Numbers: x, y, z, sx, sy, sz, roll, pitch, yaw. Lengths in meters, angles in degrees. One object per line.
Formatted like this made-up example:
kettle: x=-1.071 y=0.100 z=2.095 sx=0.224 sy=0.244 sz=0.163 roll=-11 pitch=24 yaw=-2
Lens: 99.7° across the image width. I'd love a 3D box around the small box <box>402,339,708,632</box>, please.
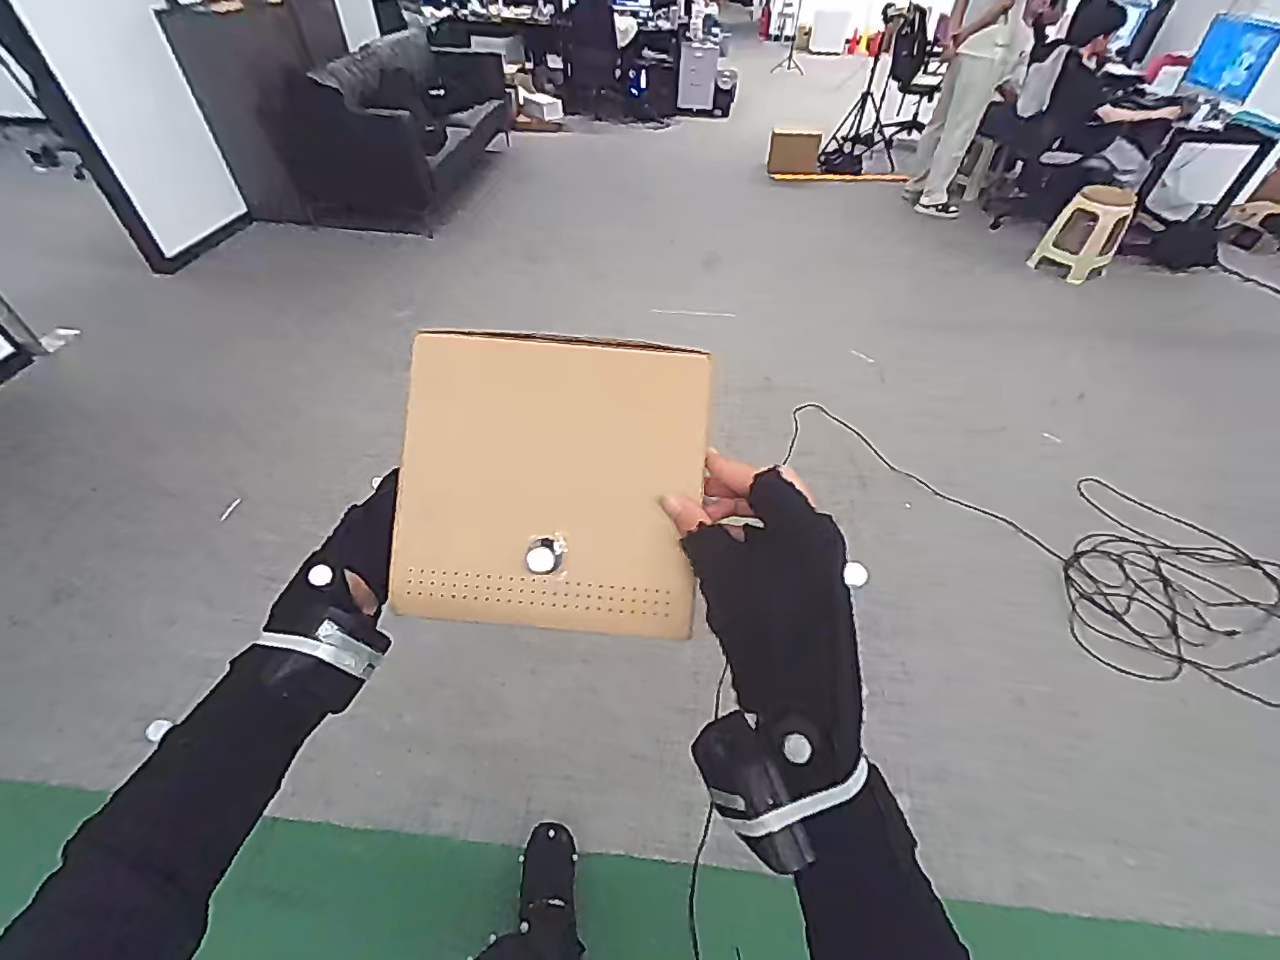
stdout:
small box: x=-0.050 y=0.007 z=0.398 sx=0.179 sy=0.168 sz=0.176 roll=5 pitch=88 yaw=2
